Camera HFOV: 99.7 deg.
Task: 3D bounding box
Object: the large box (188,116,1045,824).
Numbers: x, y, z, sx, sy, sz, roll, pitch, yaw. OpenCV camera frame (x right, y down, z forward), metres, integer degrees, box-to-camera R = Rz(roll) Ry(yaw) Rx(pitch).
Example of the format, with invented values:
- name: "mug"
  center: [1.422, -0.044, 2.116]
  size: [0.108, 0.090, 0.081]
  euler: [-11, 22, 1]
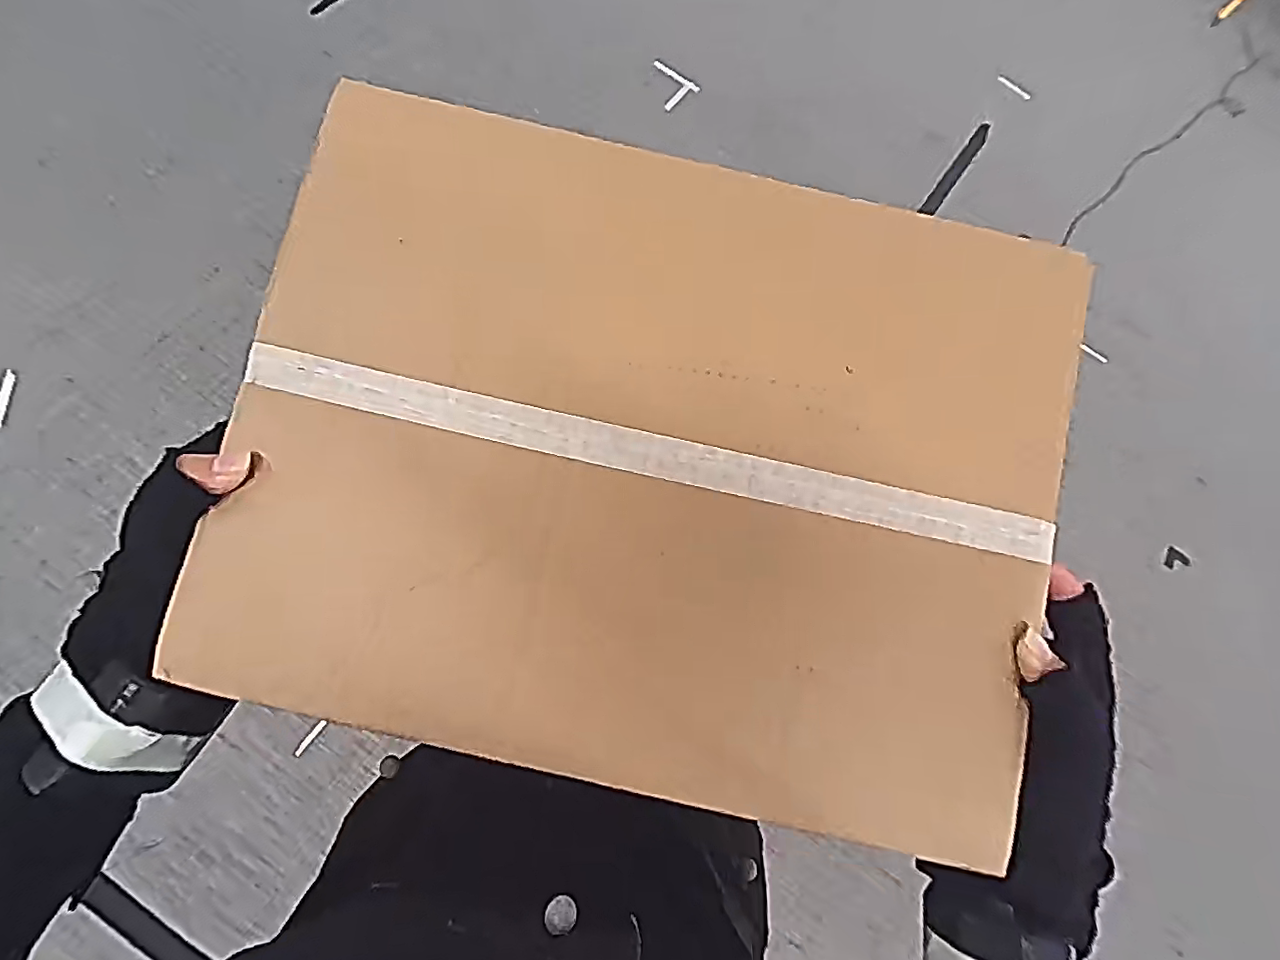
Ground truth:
- name: "large box"
  center: [-0.002, 0.000, 0.429]
  size: [0.408, 0.320, 0.320]
  euler: [12, 83, 0]
